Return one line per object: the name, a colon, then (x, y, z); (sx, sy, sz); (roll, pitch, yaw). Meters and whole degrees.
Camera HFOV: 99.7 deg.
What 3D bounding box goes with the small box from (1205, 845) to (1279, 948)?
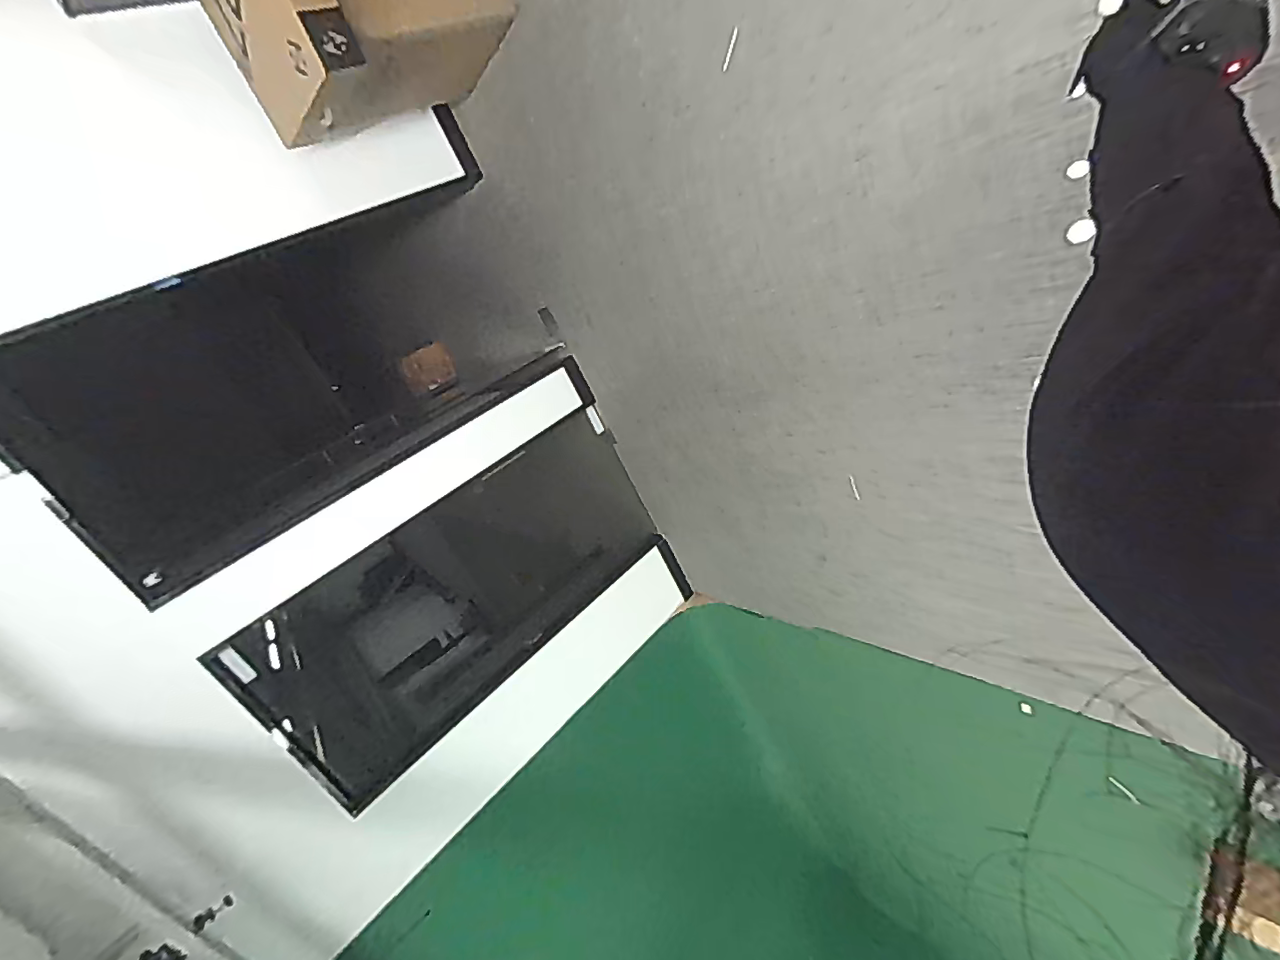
small box: (1.910, 1.291, 1.690); (0.179, 0.176, 0.168); (7, 130, 52)
